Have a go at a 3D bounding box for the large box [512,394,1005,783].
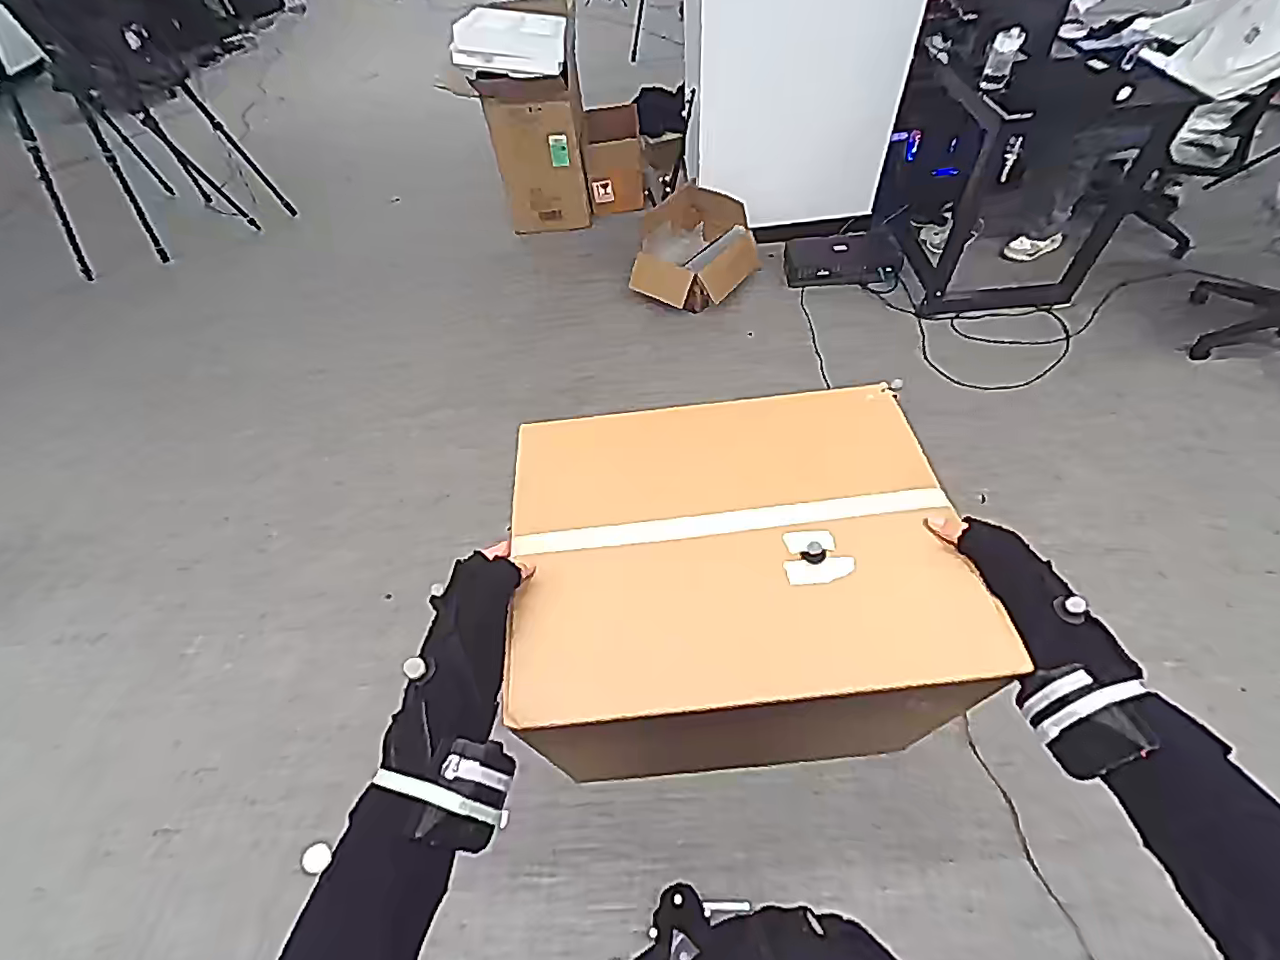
[{"bbox_3d":[0.089,0.137,0.632,0.408,0.320,0.320,-7,53,1],"label":"large box"}]
